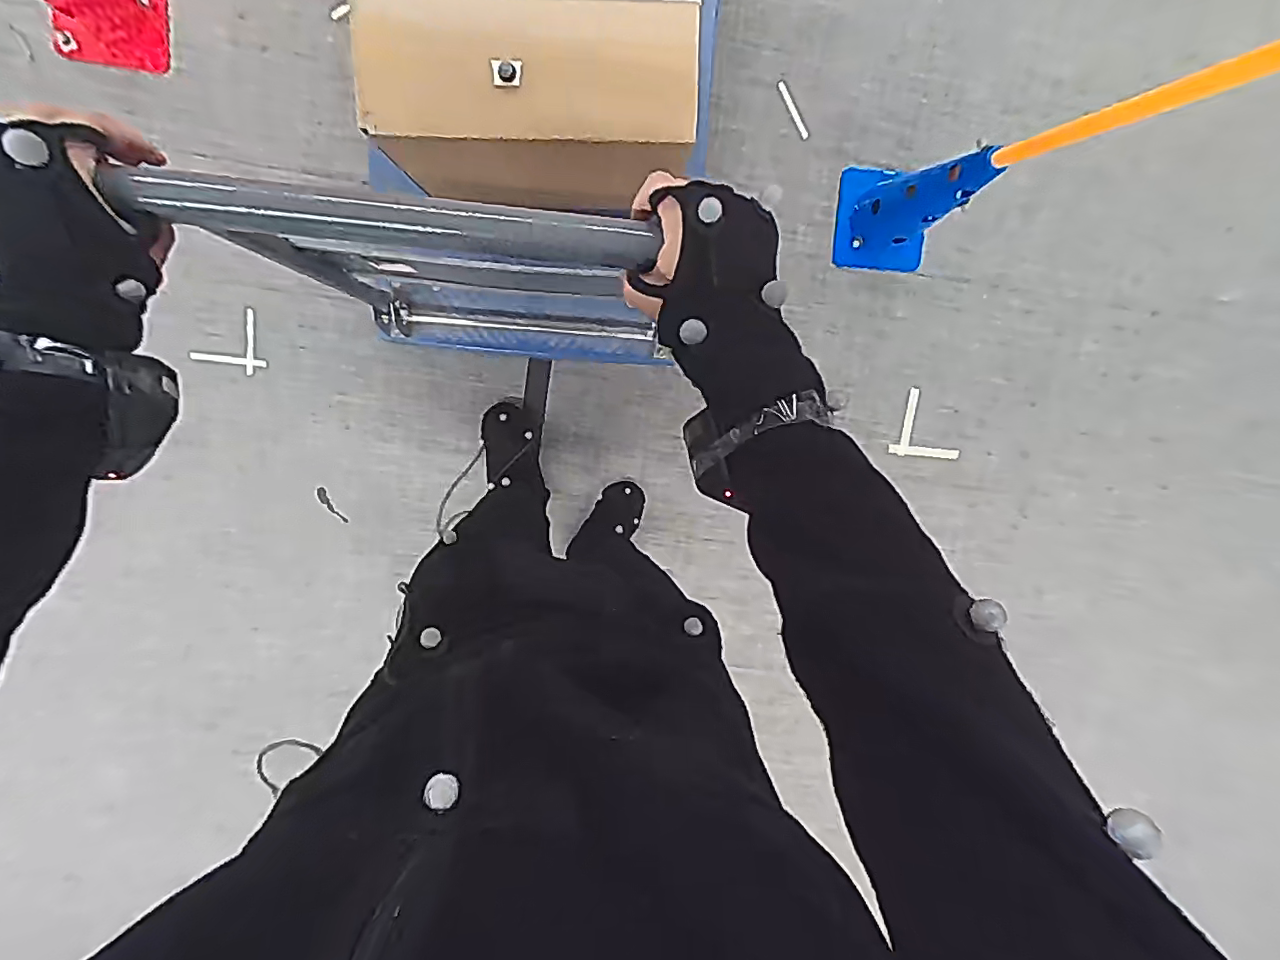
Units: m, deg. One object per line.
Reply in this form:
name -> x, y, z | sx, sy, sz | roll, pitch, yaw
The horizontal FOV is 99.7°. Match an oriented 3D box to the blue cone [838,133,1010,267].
blue cone -> 0.534, -0.534, 1.006 | 0.193, 0.380, 0.192 | 3, 100, -5
